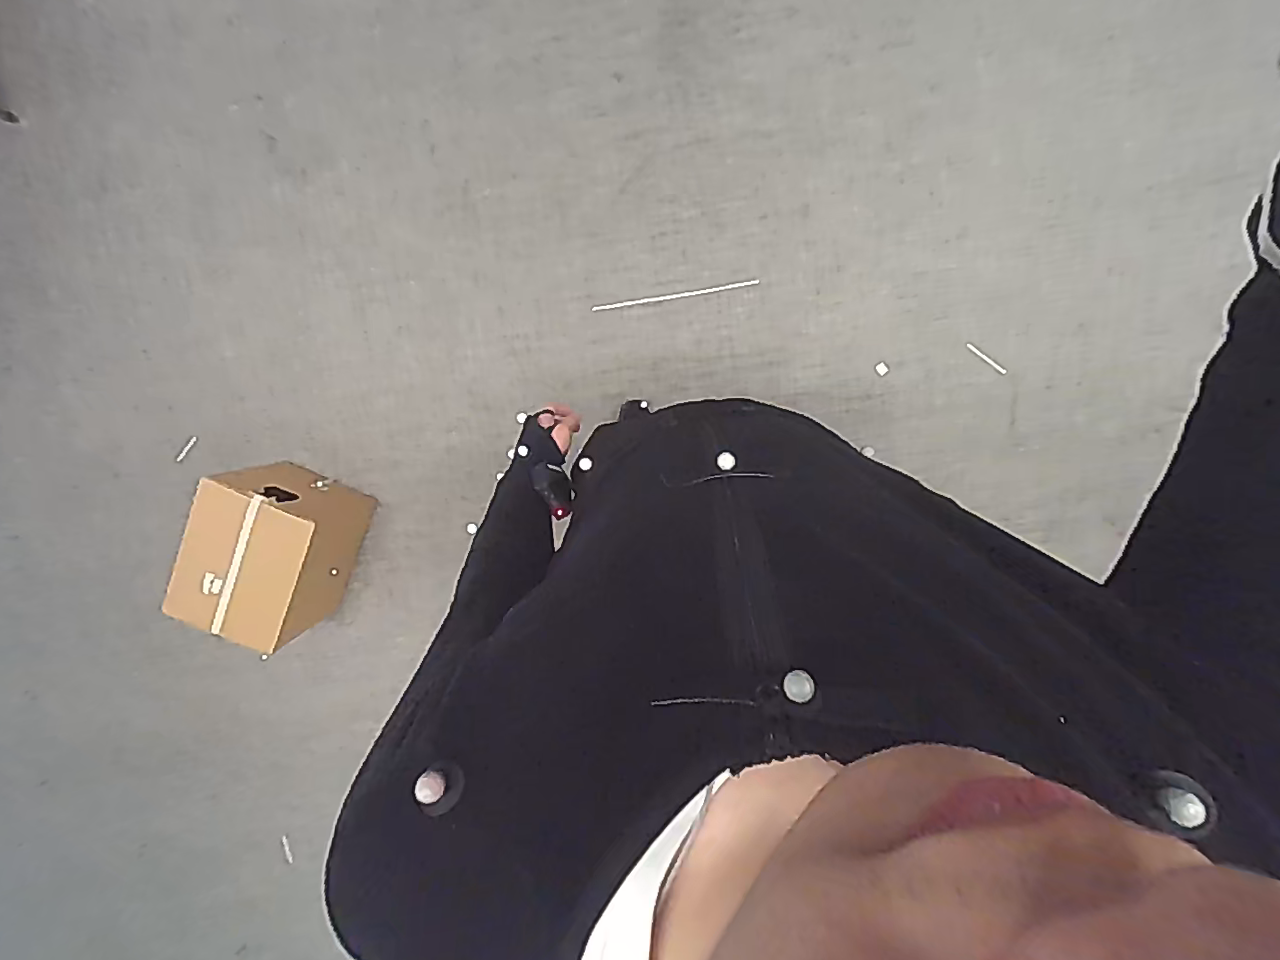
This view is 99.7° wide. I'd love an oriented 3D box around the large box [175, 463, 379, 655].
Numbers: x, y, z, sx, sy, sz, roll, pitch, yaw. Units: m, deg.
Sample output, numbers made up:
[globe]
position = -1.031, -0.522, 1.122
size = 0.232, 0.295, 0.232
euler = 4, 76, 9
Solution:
[large box]
position = -1.016, 0.205, 1.550
size = 0.320, 0.320, 0.408
euler = 23, 100, -1
